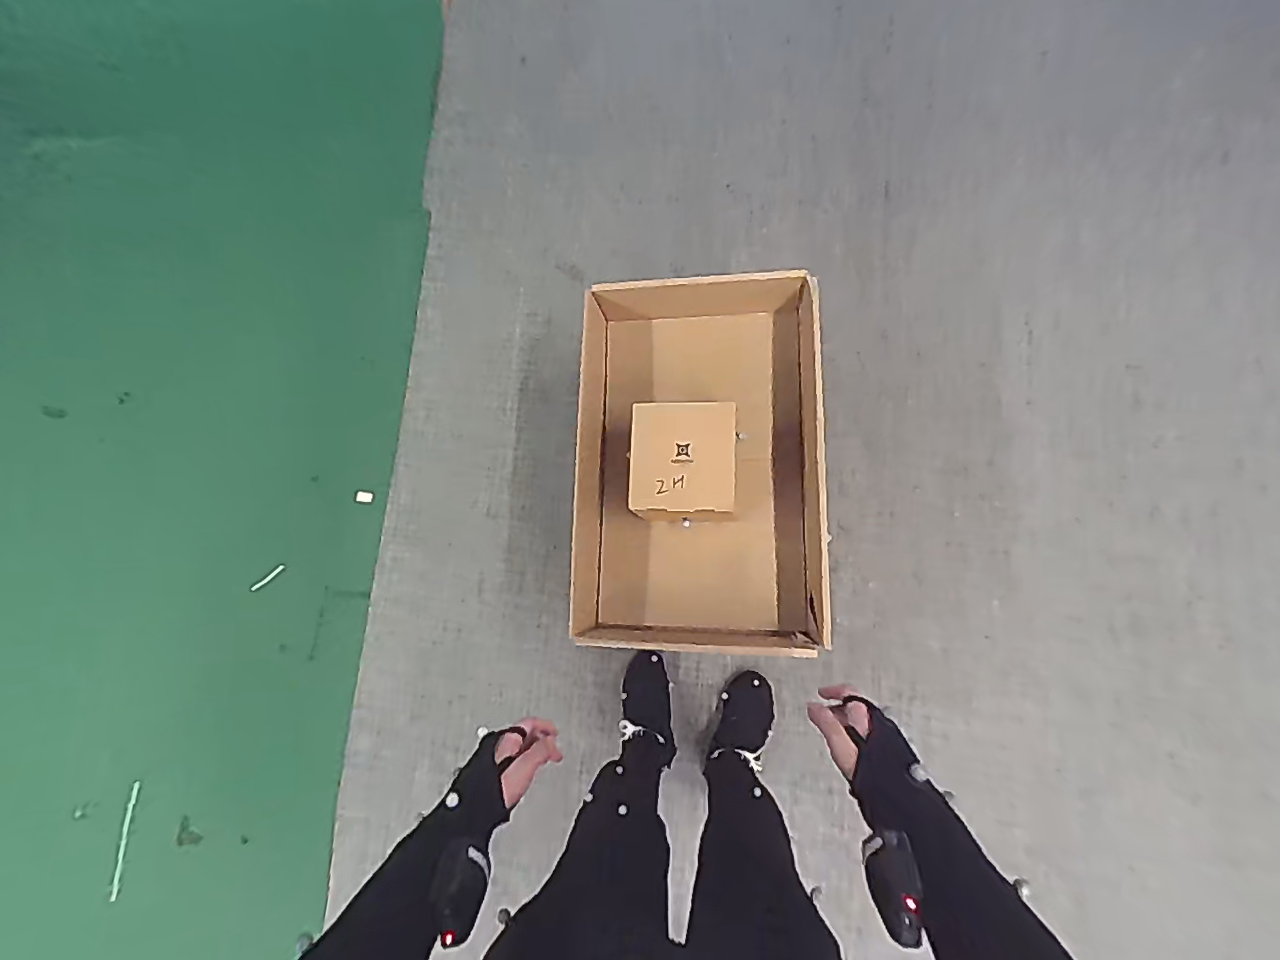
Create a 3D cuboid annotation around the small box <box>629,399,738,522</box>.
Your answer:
[{"bbox_3d":[0.079,-0.027,0.914,0.168,0.176,0.179,1,80,10],"label":"small box"}]
